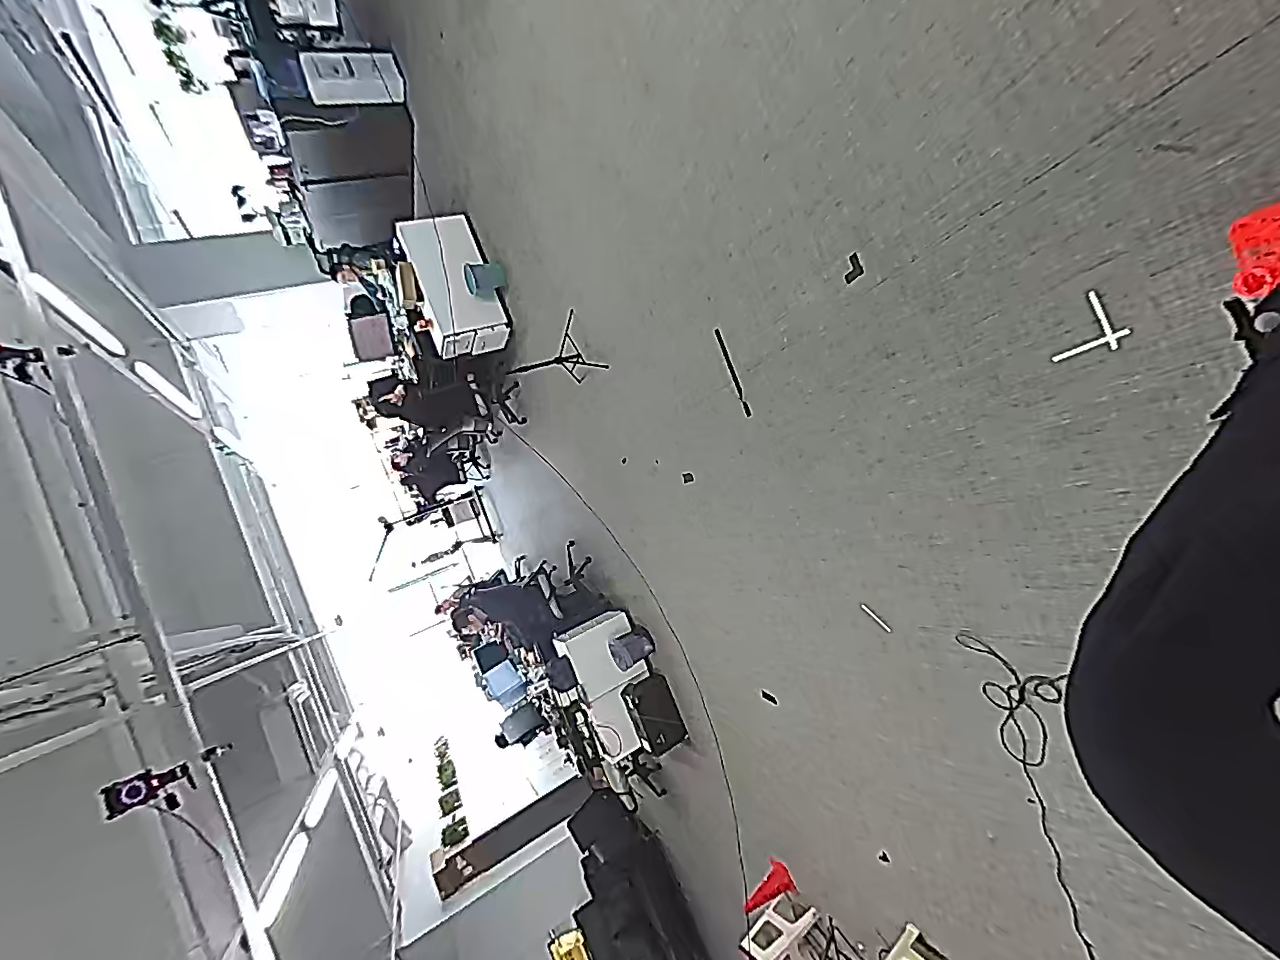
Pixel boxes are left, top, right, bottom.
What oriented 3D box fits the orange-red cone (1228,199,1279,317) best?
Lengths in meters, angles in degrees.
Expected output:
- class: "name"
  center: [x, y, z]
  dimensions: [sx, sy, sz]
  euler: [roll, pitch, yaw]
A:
- class: "orange-red cone"
  center: [0.978, -0.334, 0.813]
  dimensions: [0.199, 0.360, 0.198]
  euler: [-13, 96, 66]
